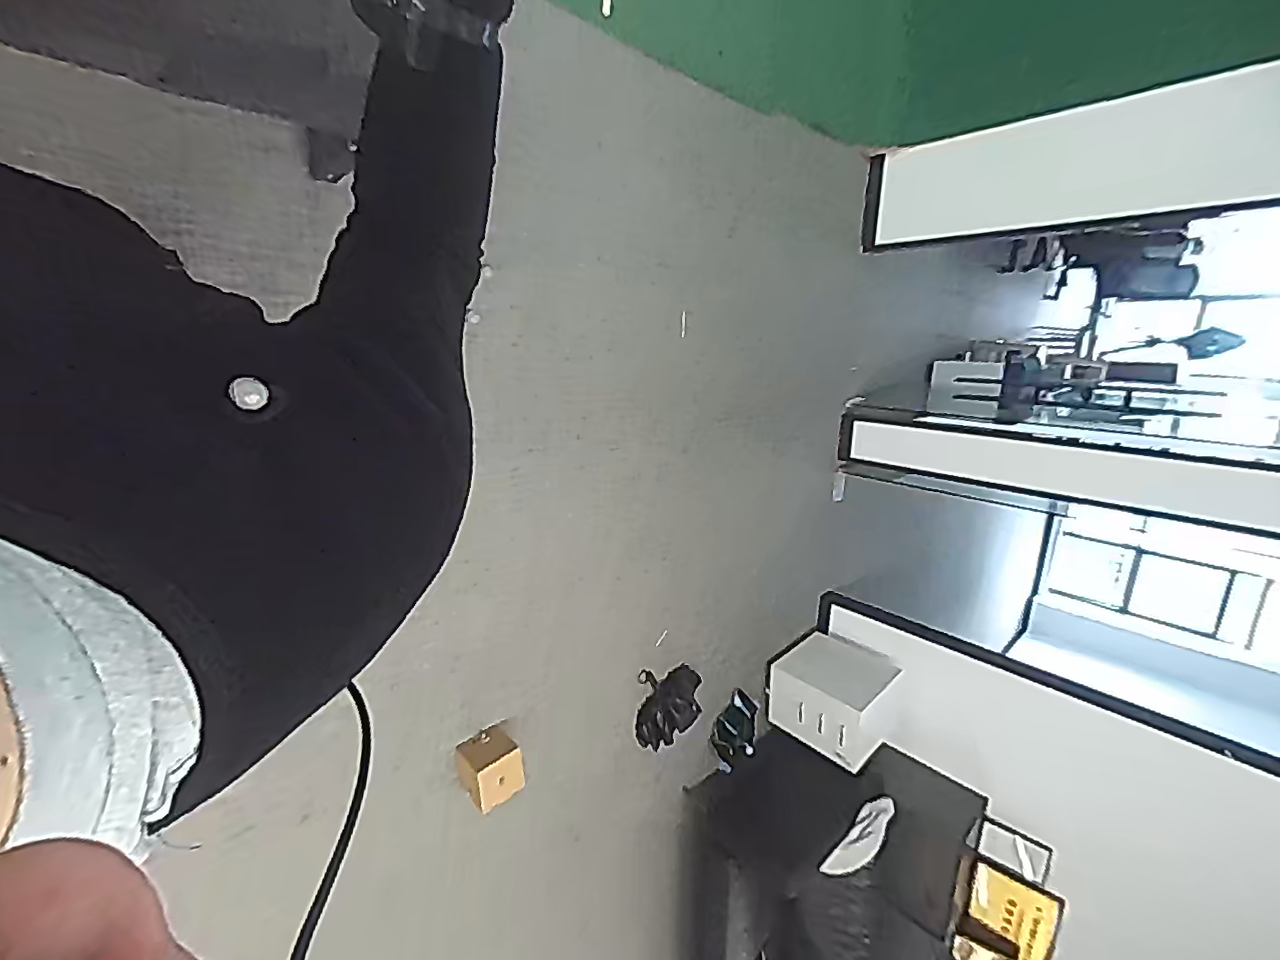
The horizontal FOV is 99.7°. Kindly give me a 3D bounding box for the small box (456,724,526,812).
[{"bbox_3d":[-0.524,1.002,1.899,0.168,0.176,0.179,-19,113,-41],"label":"small box"}]
